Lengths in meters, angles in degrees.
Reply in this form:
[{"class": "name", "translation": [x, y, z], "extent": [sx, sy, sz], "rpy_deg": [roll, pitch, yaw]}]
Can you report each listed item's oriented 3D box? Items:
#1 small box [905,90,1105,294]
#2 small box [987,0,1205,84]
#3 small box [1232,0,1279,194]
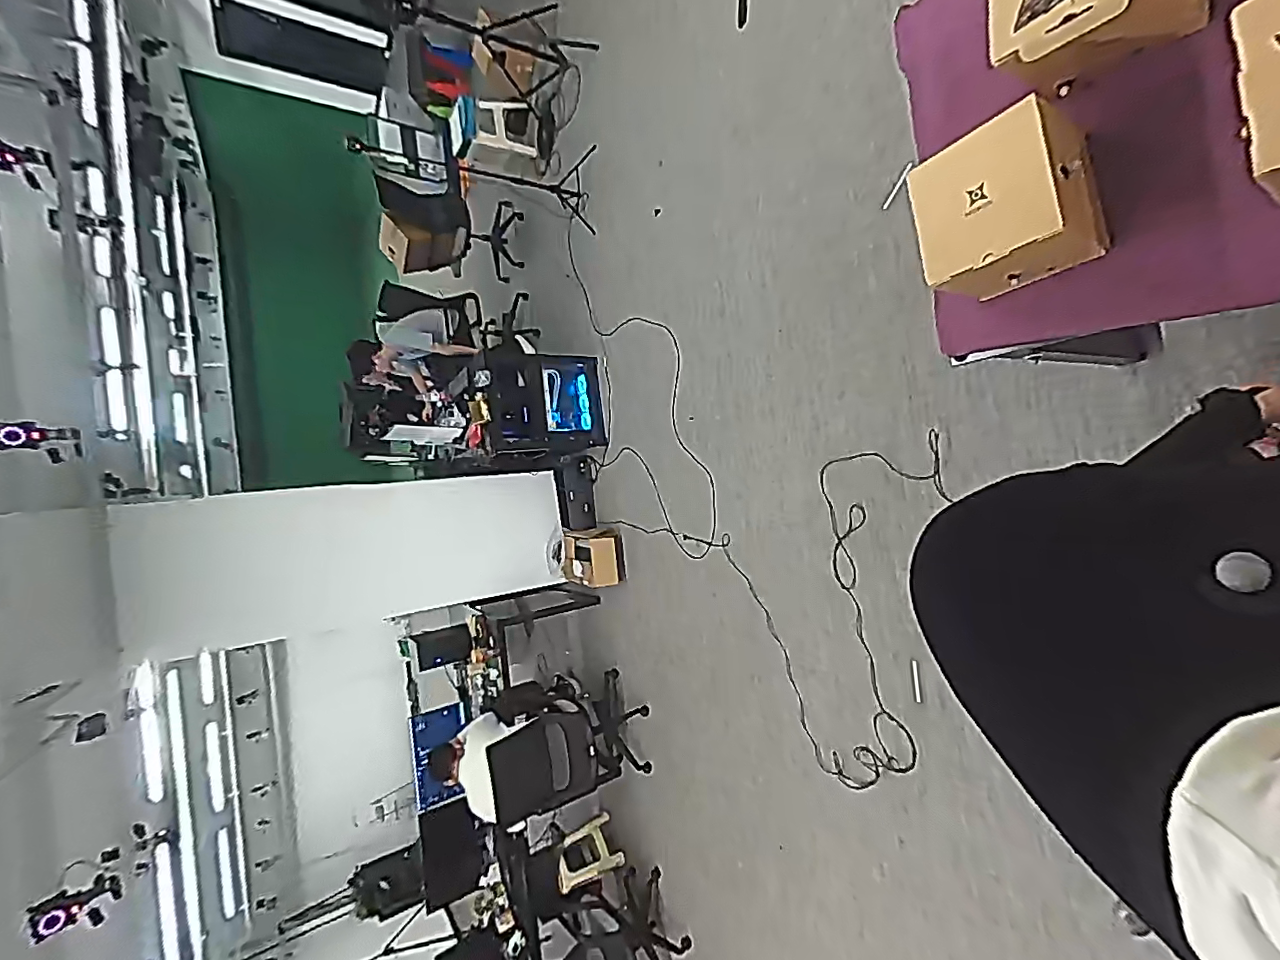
[{"class": "small box", "translation": [0.504, -0.379, 0.751], "extent": [0.168, 0.176, 0.179], "rpy_deg": [-15, 83, 55]}, {"class": "small box", "translation": [0.545, -0.617, 0.648], "extent": [0.168, 0.176, 0.179], "rpy_deg": [2, 98, 56]}, {"class": "small box", "translation": [0.680, -0.383, 0.480], "extent": [0.179, 0.176, 0.168], "rpy_deg": [-8, 89, 58]}]
